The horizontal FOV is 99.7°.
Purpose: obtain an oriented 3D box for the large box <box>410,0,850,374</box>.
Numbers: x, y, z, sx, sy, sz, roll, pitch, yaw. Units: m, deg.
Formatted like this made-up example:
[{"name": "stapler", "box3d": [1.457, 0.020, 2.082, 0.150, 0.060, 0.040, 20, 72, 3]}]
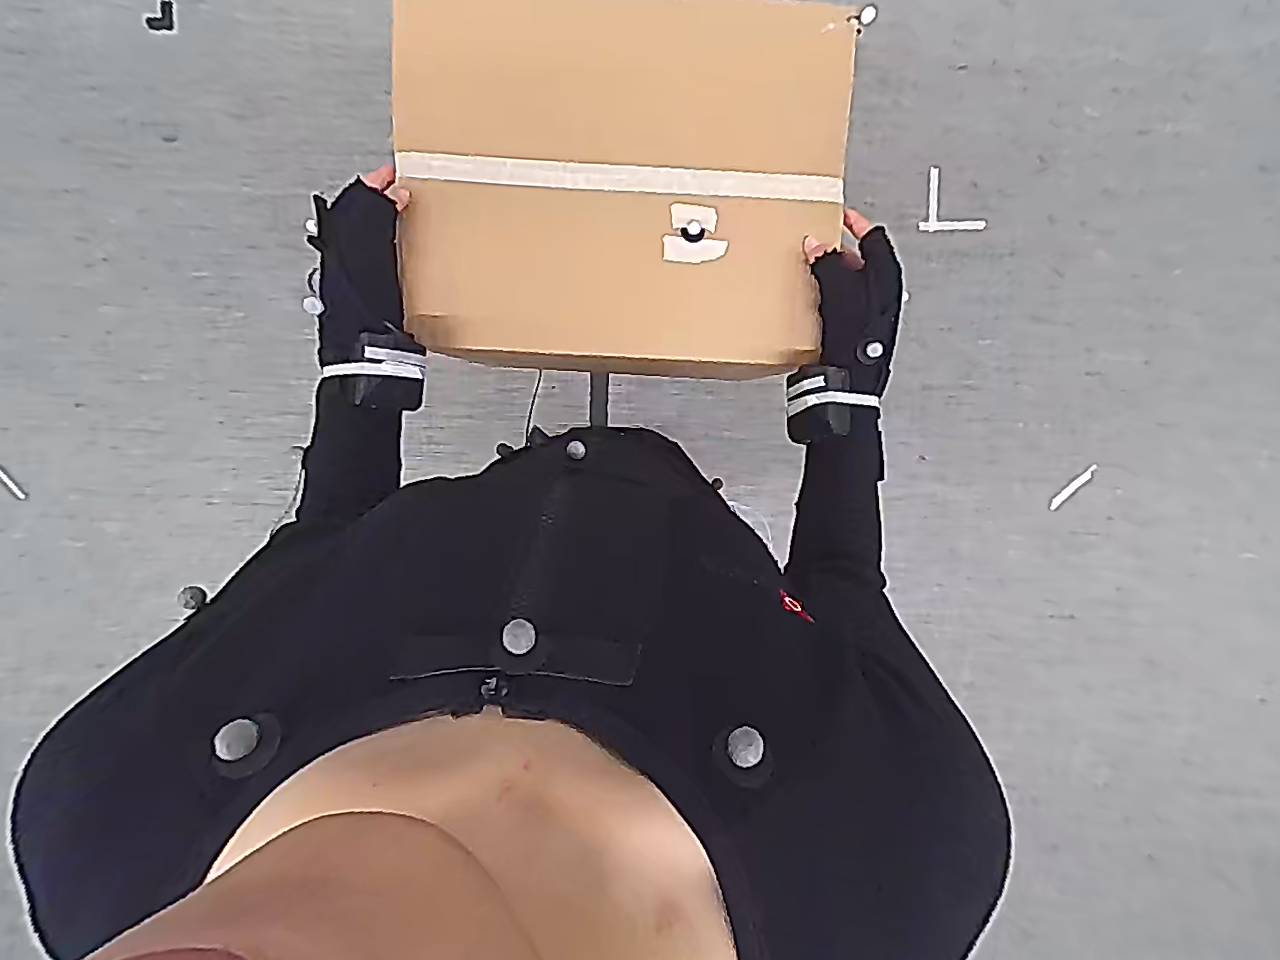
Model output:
[{"name": "large box", "box3d": [-0.018, -0.300, 0.650, 0.408, 0.320, 0.320, 3, 98, -2]}]
